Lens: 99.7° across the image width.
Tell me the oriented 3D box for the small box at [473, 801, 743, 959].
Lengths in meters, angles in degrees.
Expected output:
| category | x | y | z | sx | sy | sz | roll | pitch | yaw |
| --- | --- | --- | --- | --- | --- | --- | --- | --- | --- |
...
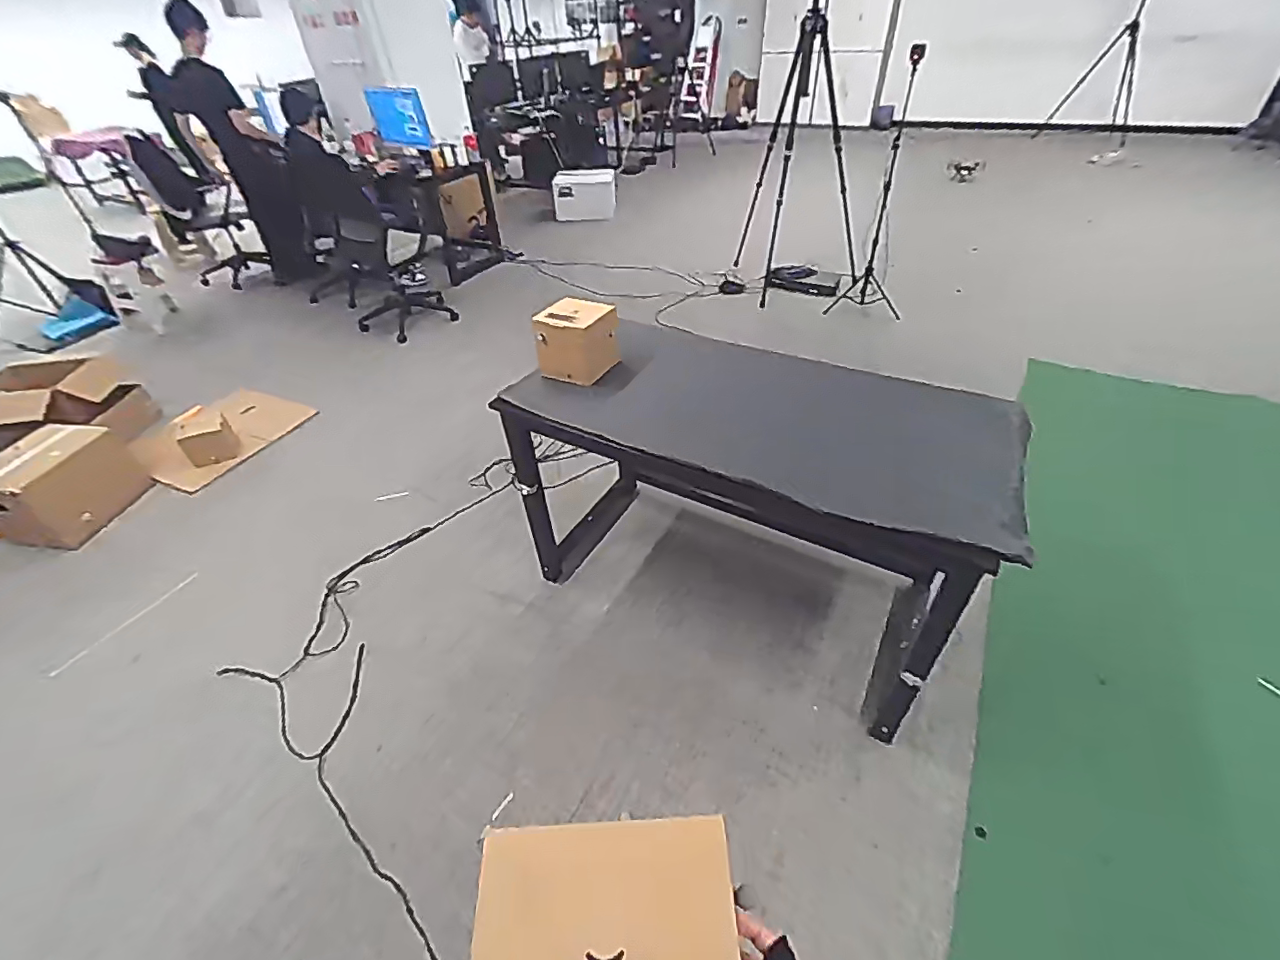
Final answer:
| category | x | y | z | sx | sy | sz | roll | pitch | yaw |
| --- | --- | --- | --- | --- | --- | --- | --- | --- | --- |
| small box | -0.013 | 0.344 | 0.381 | 0.168 | 0.176 | 0.179 | -5 | 51 | 3 |
